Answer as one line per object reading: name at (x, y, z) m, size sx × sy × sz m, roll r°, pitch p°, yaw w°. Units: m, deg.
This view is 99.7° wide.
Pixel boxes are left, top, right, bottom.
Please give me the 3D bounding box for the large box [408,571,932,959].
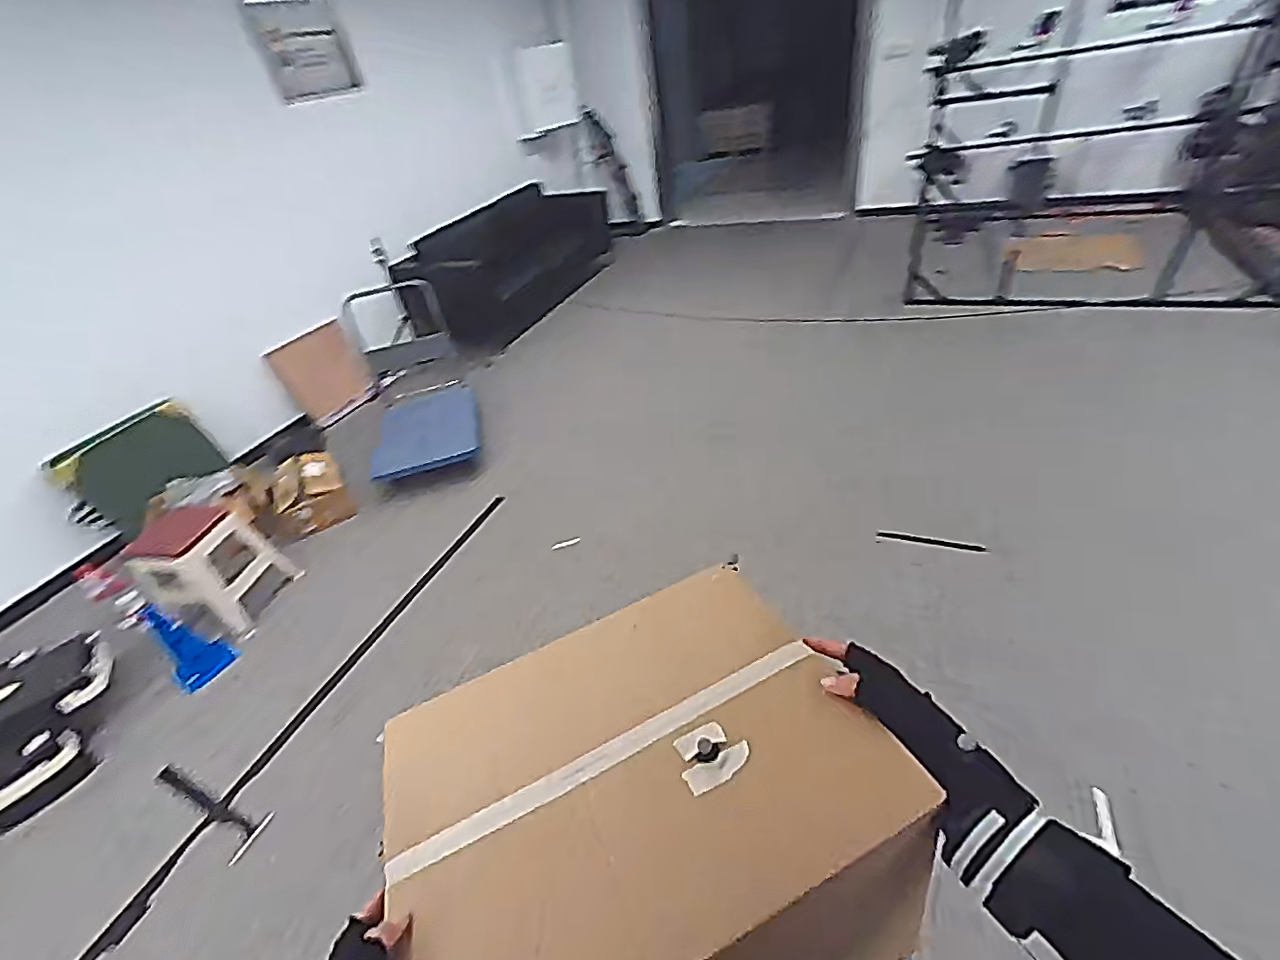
large box at (0.022, 0.371, 0.566) m, size 0.408 × 0.320 × 0.320 m, roll -22°, pitch 33°, yaw -13°
